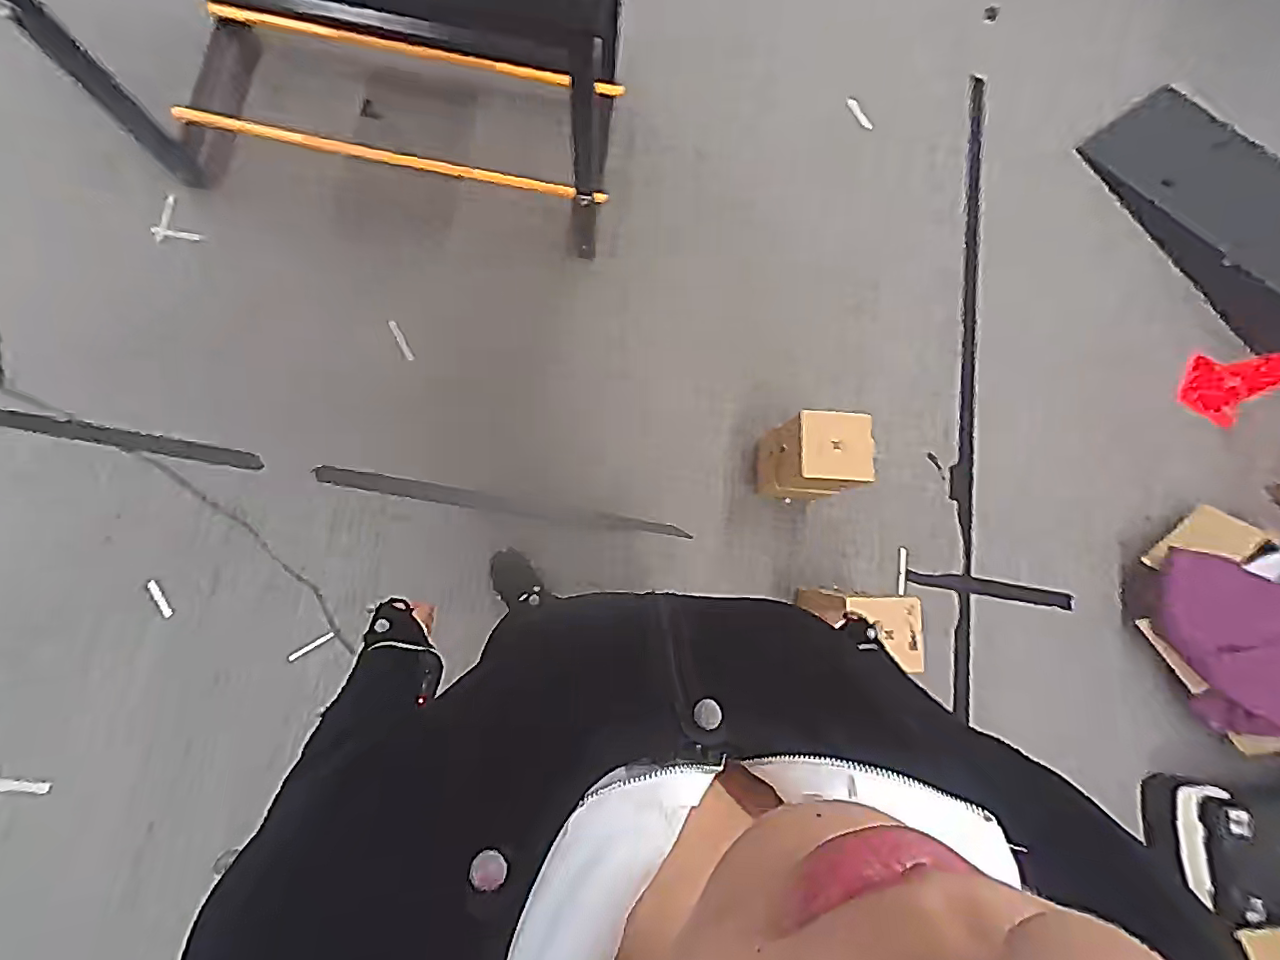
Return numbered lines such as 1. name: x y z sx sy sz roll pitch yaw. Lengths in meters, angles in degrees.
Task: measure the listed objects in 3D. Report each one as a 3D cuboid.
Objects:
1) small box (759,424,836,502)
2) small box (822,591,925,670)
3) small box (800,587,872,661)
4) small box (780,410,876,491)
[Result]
1. small box: 0.438 -0.043 1.510 0.168 0.176 0.179 6 81 -4
2. small box: 0.545 0.355 1.291 0.179 0.176 0.168 2 81 -4
3. small box: 0.539 0.384 1.452 0.168 0.176 0.179 3 80 -5
4. small box: 0.463 -0.067 1.351 0.179 0.176 0.168 2 79 -3
